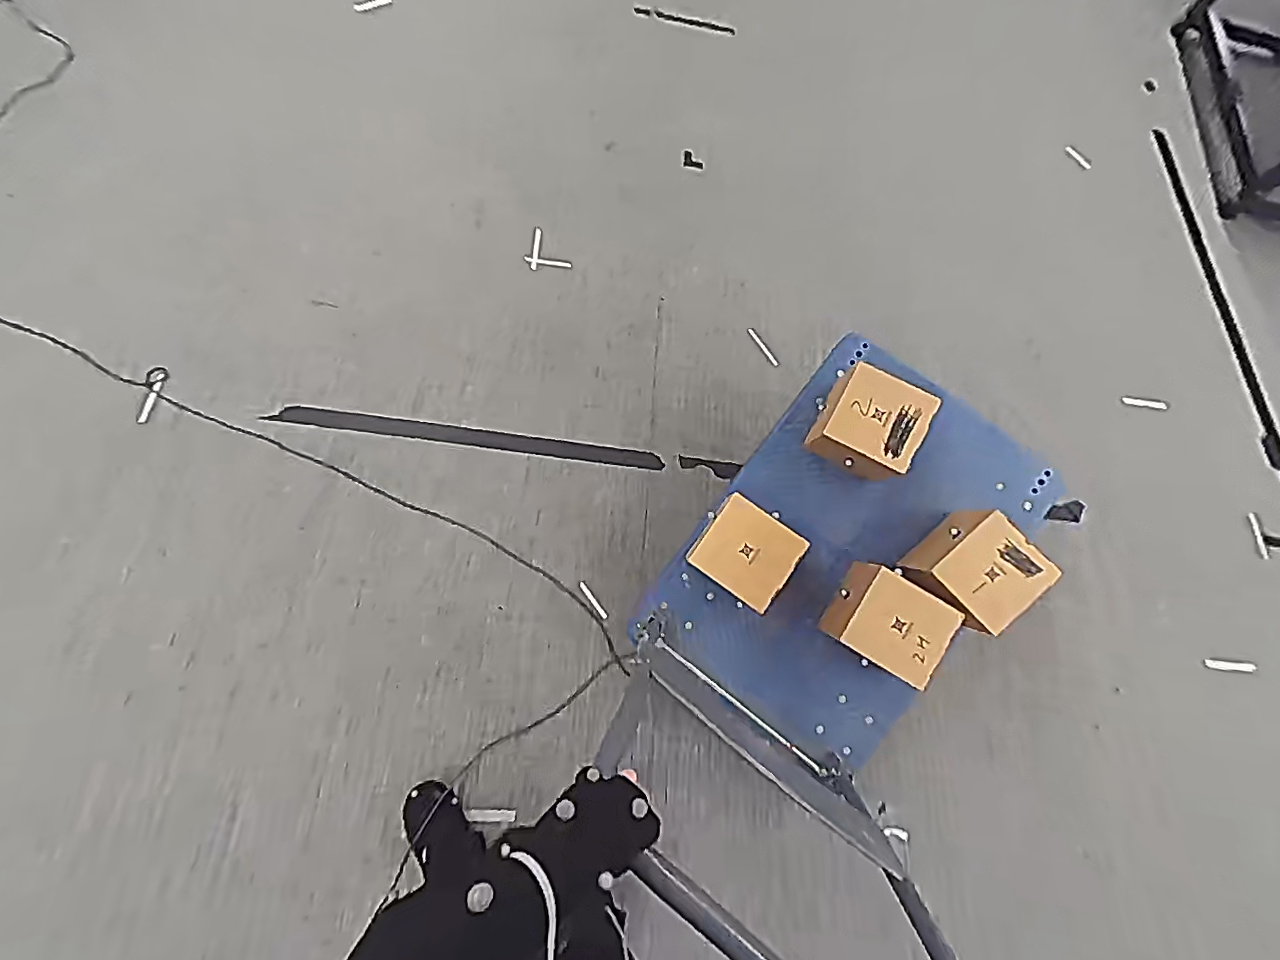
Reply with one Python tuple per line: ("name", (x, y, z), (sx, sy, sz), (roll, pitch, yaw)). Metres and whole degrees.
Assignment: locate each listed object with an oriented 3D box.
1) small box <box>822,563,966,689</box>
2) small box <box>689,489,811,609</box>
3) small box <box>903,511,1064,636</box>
("small box", (0.491, 0.279, 1.078), (0.179, 0.176, 0.168), (32, 88, 6))
("small box", (0.213, 0.139, 1.112), (0.179, 0.176, 0.168), (36, 88, 5))
("small box", (0.666, 0.177, 1.075), (0.179, 0.176, 0.168), (-42, 83, 0))
